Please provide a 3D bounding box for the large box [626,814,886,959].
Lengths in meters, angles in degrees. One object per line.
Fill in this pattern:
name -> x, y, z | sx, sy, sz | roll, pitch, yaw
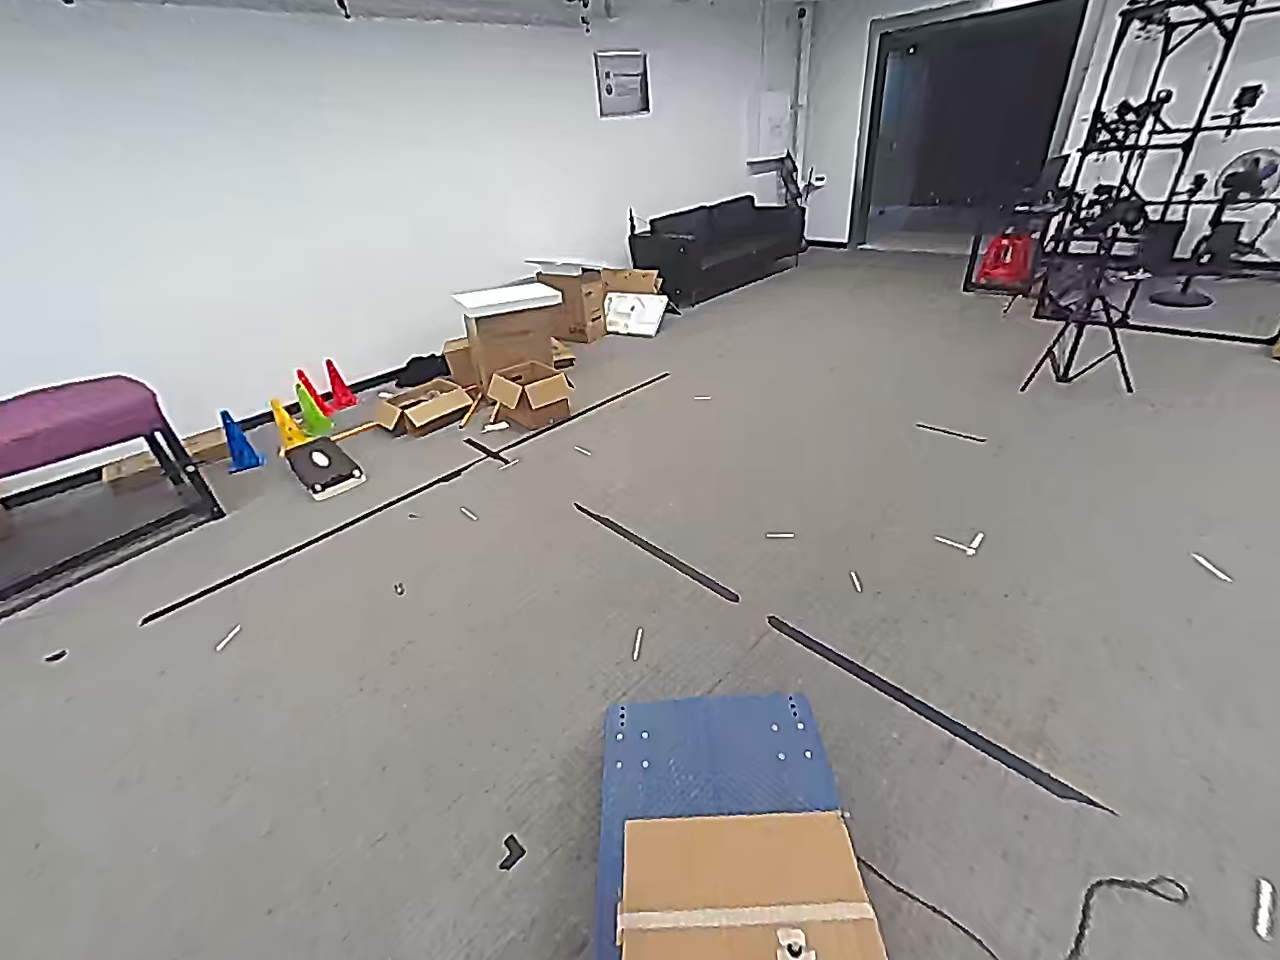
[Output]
large box -> 0.185, 0.840, 0.953 | 0.408, 0.320, 0.320 | -4, 33, 1
